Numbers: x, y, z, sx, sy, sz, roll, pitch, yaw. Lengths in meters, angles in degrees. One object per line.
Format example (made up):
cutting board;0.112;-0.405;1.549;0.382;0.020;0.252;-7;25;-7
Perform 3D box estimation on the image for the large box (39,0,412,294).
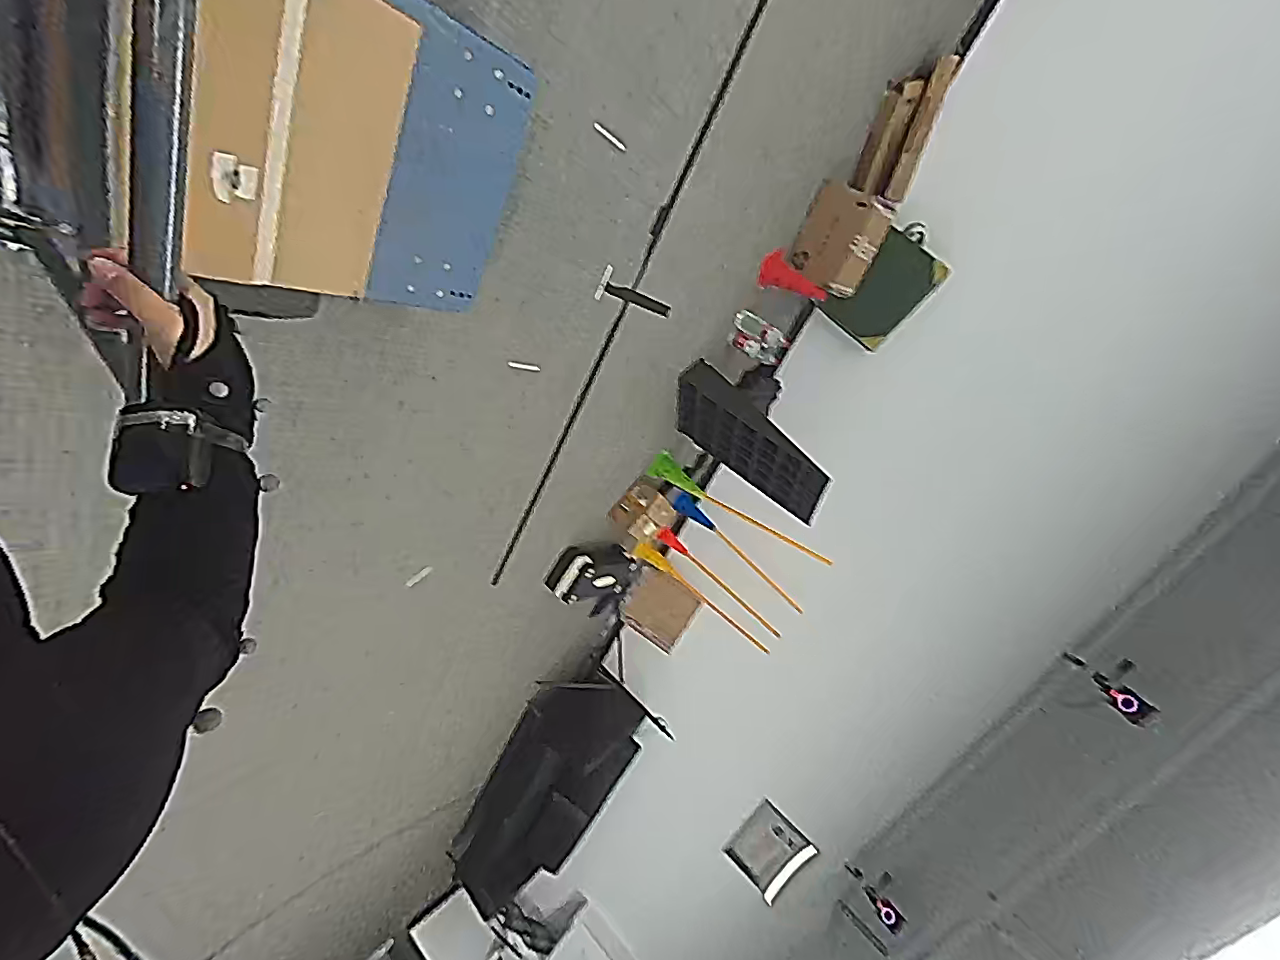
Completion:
large box;-0.586;-0.539;0.765;0.320;0.320;0.408;-13;136;-55
